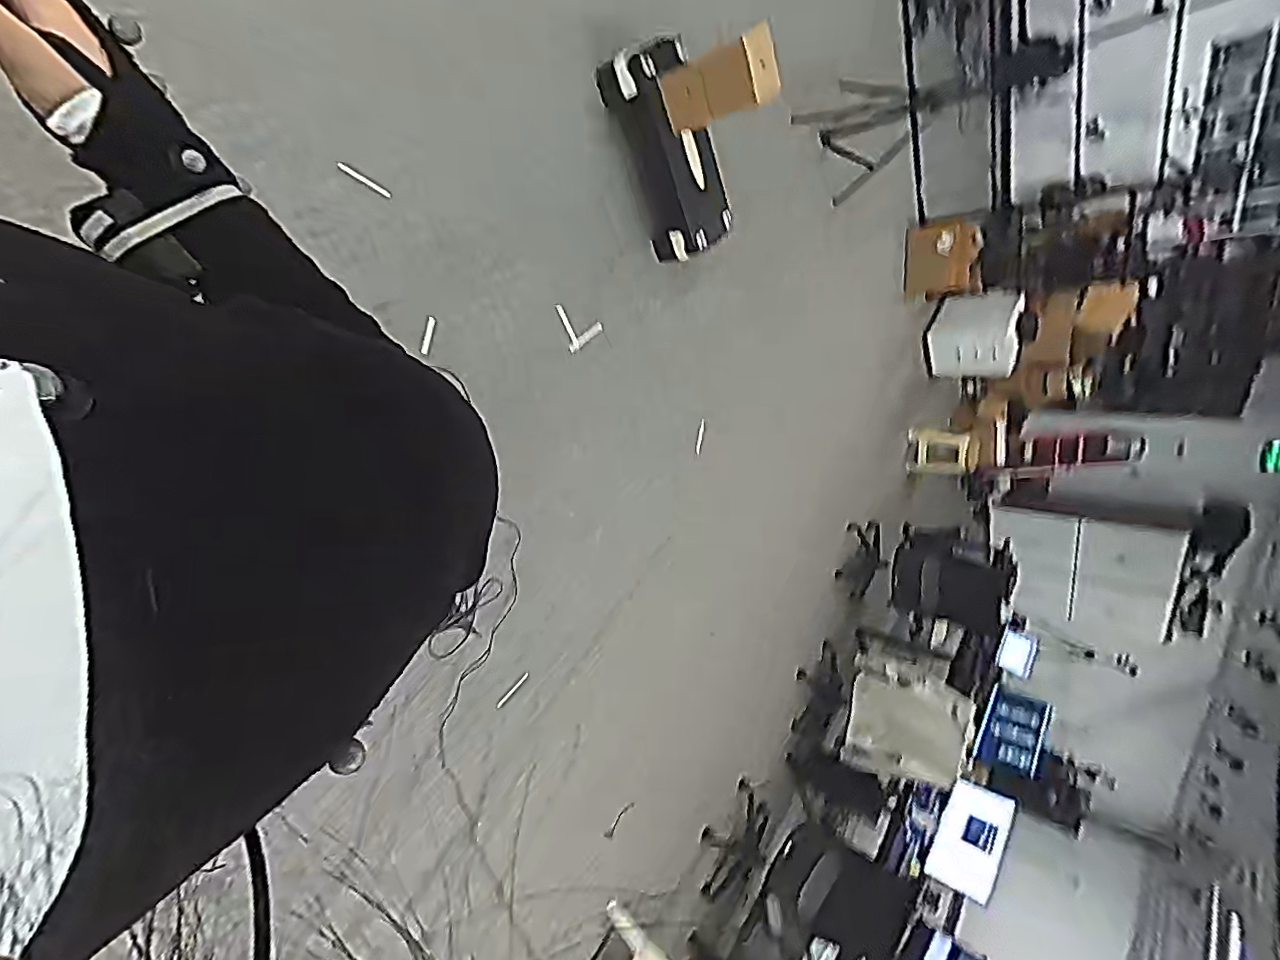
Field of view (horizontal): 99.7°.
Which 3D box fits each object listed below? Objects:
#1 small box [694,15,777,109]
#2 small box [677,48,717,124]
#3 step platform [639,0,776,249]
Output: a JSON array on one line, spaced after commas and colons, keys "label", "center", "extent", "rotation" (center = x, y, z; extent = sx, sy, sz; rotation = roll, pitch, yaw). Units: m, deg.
[{"label": "small box", "center": [0.296, -1.284, 1.673], "extent": [0.168, 0.176, 0.179], "rotation": [-50, 130, -29]}, {"label": "small box", "center": [0.179, -1.306, 1.785], "extent": [0.168, 0.176, 0.179], "rotation": [-48, 128, -29]}, {"label": "step platform", "center": [0.242, -1.157, 1.828], "extent": [0.286, 0.204, 0.684], "rotation": [-47, 129, -31]}]
